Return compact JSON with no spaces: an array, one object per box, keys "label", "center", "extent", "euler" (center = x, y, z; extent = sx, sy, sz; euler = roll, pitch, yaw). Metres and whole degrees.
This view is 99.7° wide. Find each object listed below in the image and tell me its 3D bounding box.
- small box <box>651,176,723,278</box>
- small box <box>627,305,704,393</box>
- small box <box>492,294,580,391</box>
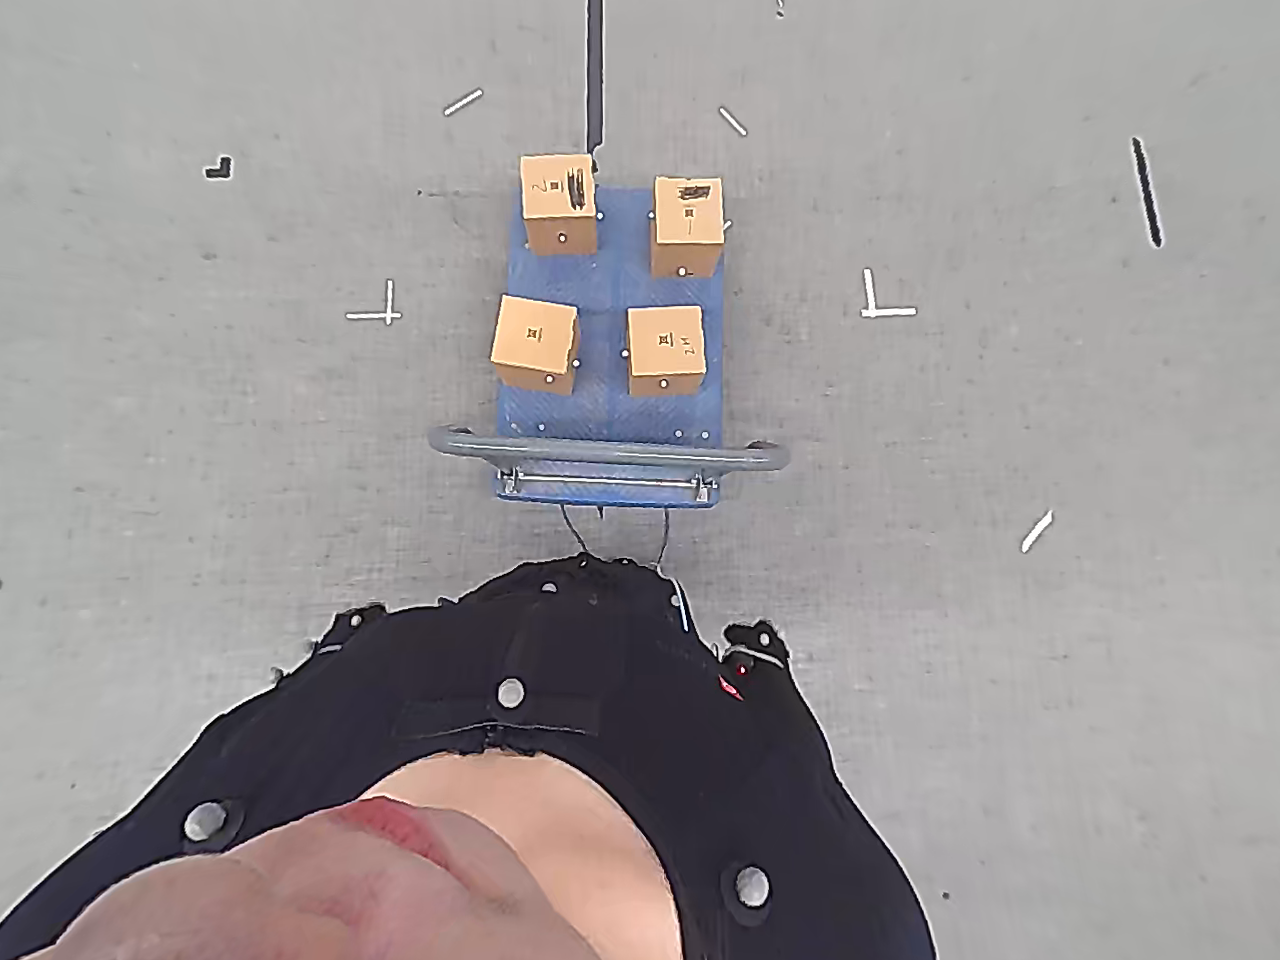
[{"label":"small box","center":[0.115,-0.648,1.395],"extent":[0.168,0.176,0.179],"euler":[-1,83,-3]},{"label":"small box","center":[0.057,-0.319,1.344],"extent":[0.179,0.176,0.168],"euler":[-3,82,-4]},{"label":"small box","center":[-0.248,-0.330,1.329],"extent":[0.179,0.176,0.168],"euler":[8,81,-3]}]
